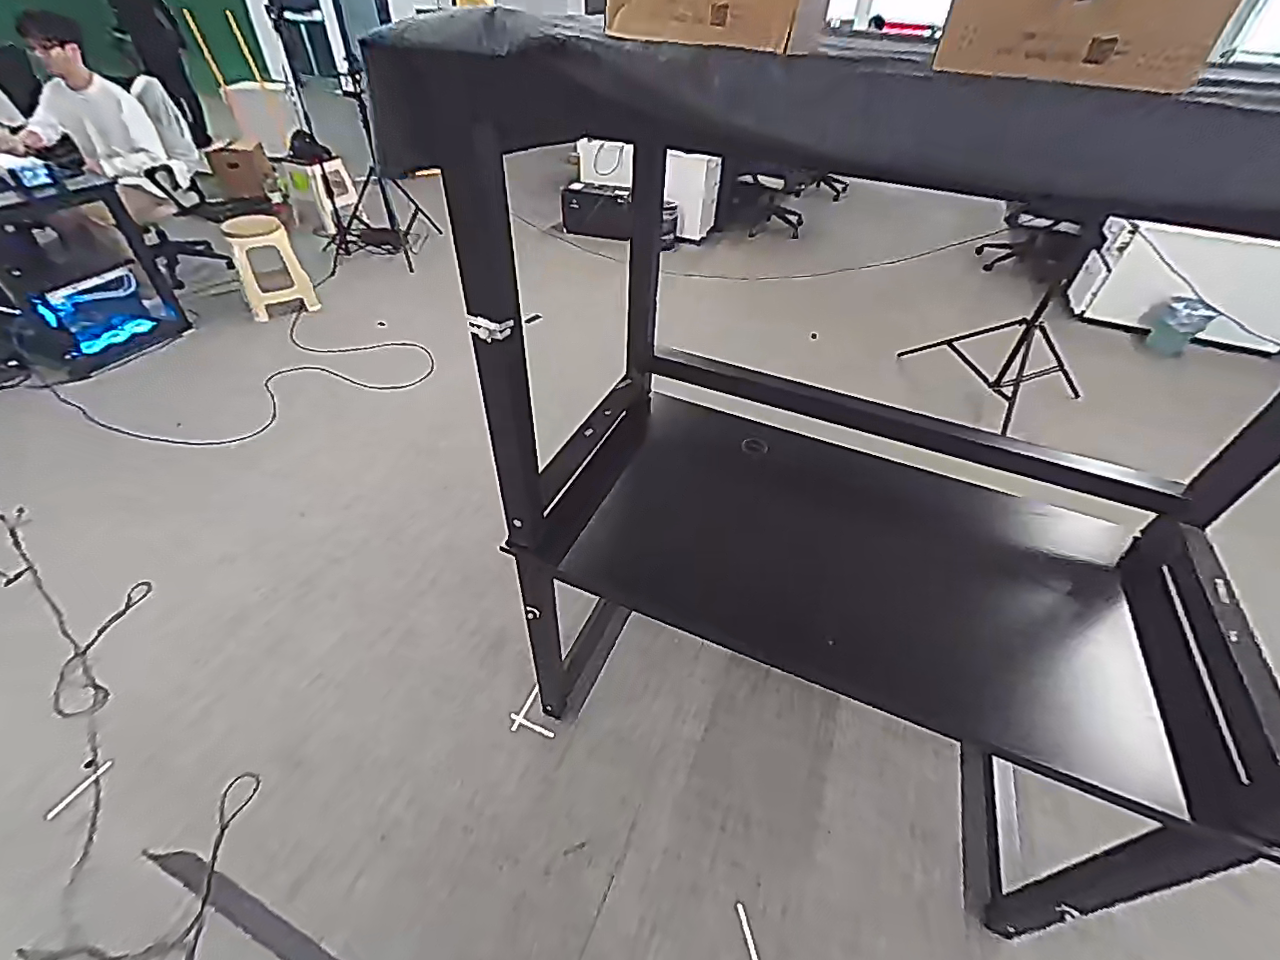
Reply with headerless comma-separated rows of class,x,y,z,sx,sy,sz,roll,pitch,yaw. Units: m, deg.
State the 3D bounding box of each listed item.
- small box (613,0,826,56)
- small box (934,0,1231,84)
small box,0.082,-0.483,0.463,0.168,0.176,0.179,18,43,14
small box,0.333,-0.402,0.390,0.168,0.176,0.179,19,43,17
